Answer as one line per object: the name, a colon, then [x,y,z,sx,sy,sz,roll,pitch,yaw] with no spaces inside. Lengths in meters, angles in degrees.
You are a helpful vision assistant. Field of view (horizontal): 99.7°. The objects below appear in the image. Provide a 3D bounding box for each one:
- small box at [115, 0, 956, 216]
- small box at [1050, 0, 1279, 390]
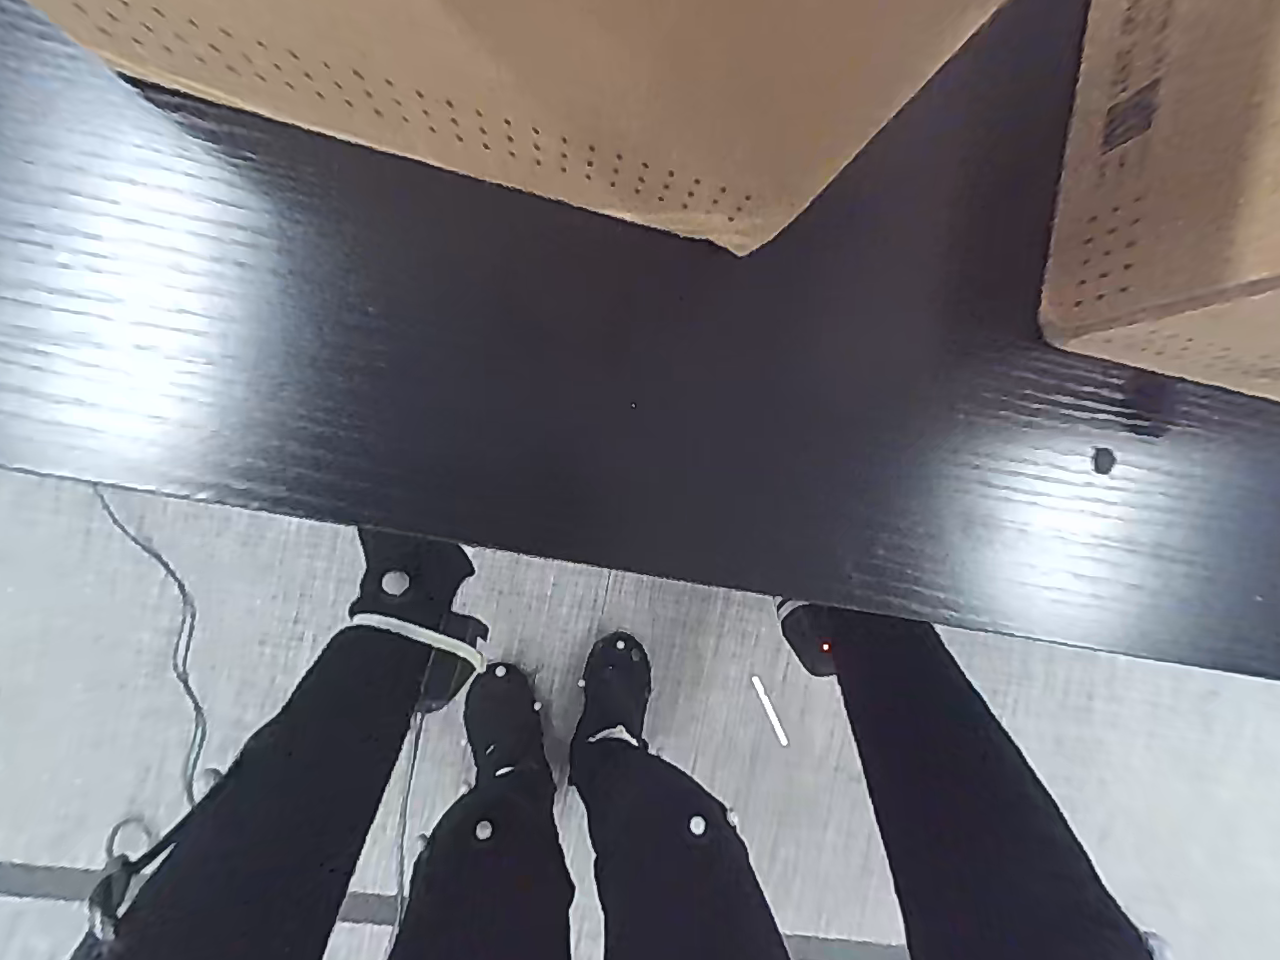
small box: [-0.014,-0.163,0.068,0.179,0.176,0.168,12,91,-10]
small box: [0.241,-0.110,0.109,0.179,0.176,0.168,10,90,-10]
